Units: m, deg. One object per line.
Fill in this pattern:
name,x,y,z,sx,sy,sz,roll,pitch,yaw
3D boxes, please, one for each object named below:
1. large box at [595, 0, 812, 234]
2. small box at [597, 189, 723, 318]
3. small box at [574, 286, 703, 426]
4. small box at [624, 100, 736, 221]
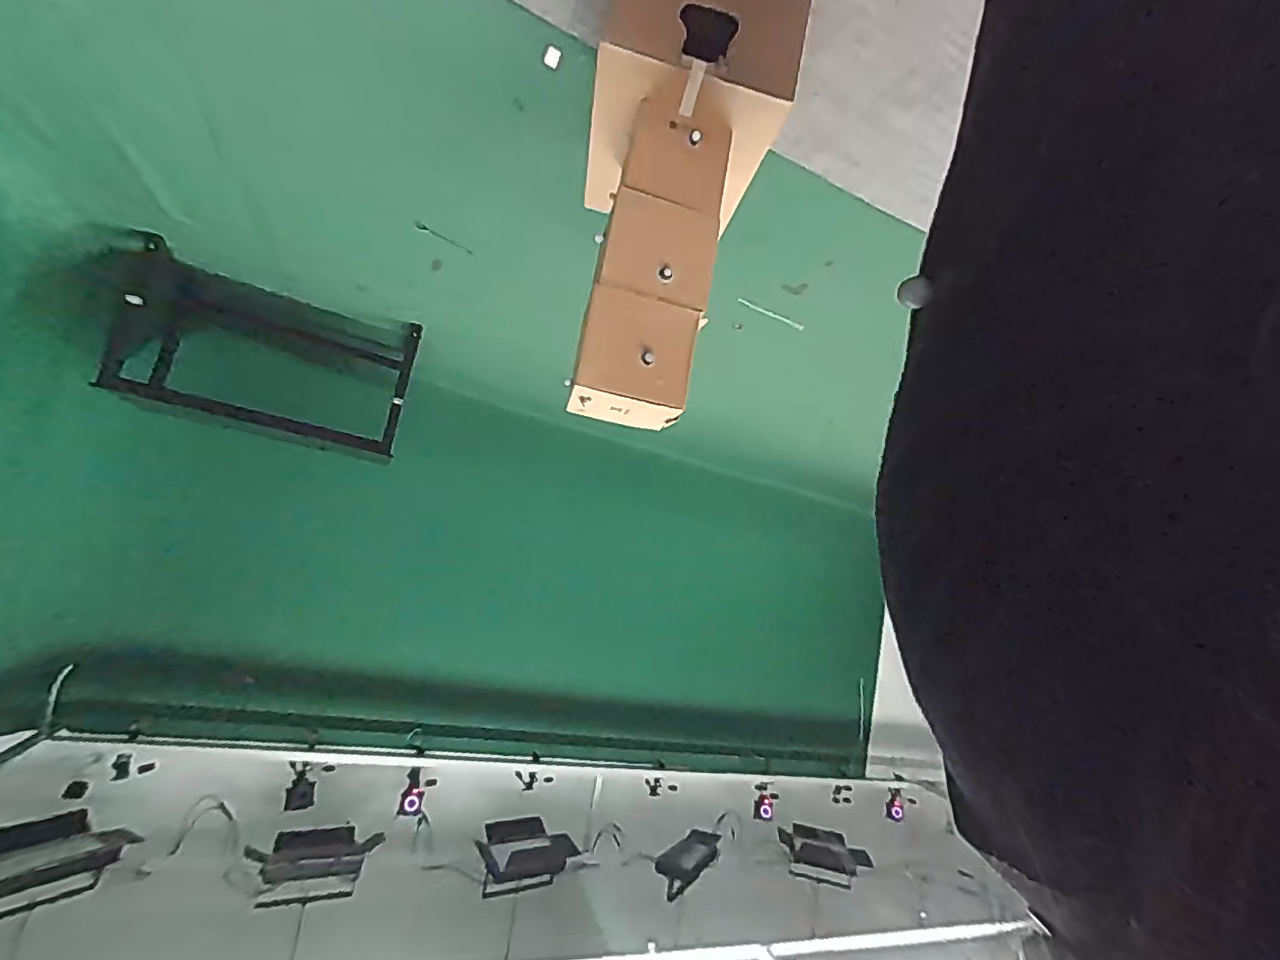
large box,0.102,-0.752,1.028,0.320,0.320,0.408,13,172,-6
small box,0.028,-0.362,0.928,0.179,0.176,0.168,12,171,-12
small box,-0.005,-0.202,0.906,0.179,0.176,0.168,10,171,-11
small box,0.060,-0.518,0.964,0.168,0.176,0.179,11,171,-10
